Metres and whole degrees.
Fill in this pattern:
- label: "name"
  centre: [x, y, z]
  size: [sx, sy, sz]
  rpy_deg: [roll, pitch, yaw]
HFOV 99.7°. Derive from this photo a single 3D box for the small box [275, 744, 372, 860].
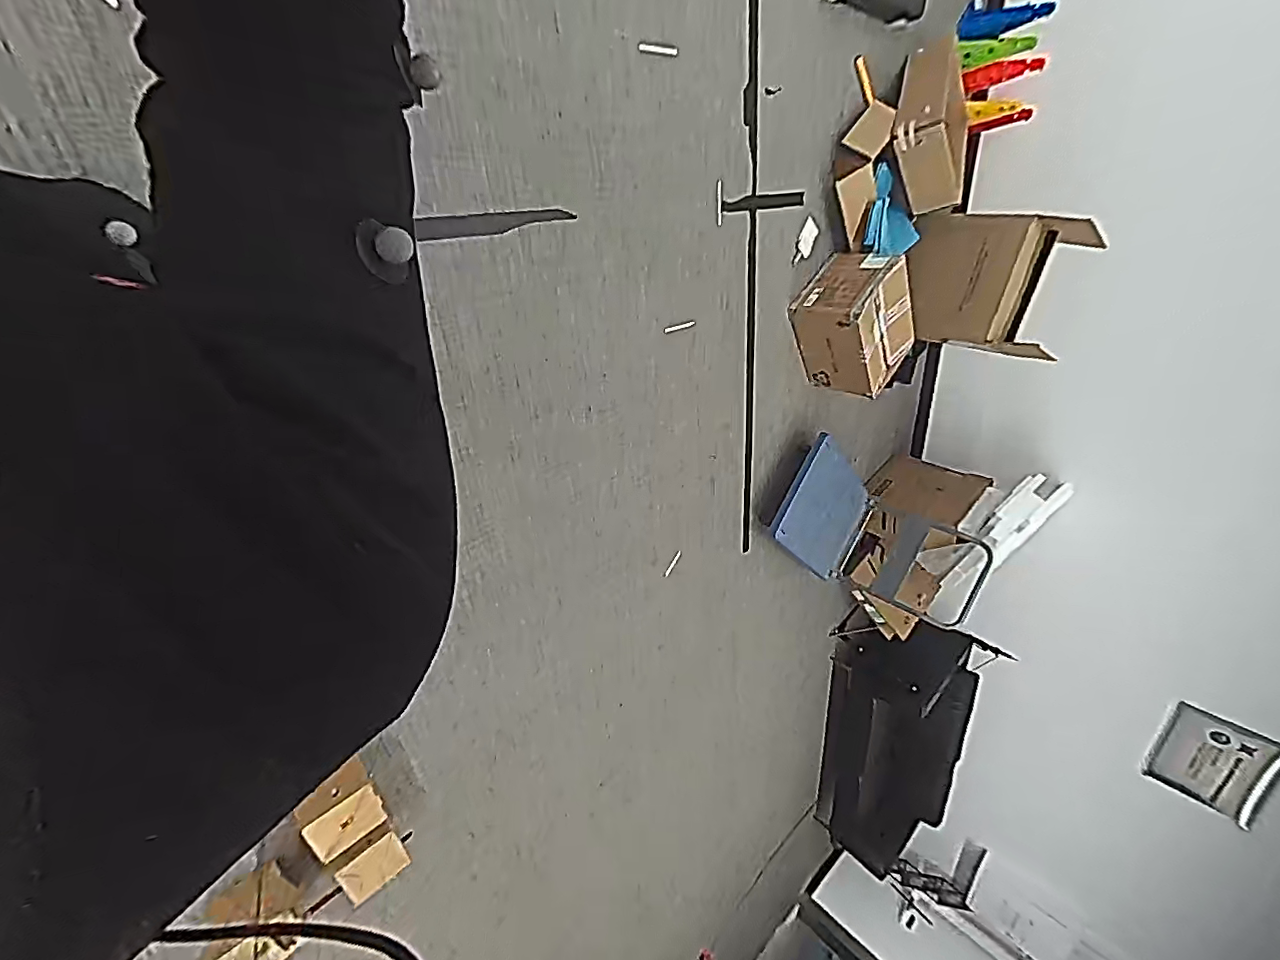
- label: "small box"
  centre: [-0.884, 0.886, 1.502]
  size: [0.179, 0.176, 0.168]
  rpy_deg: [-28, 126, -35]
